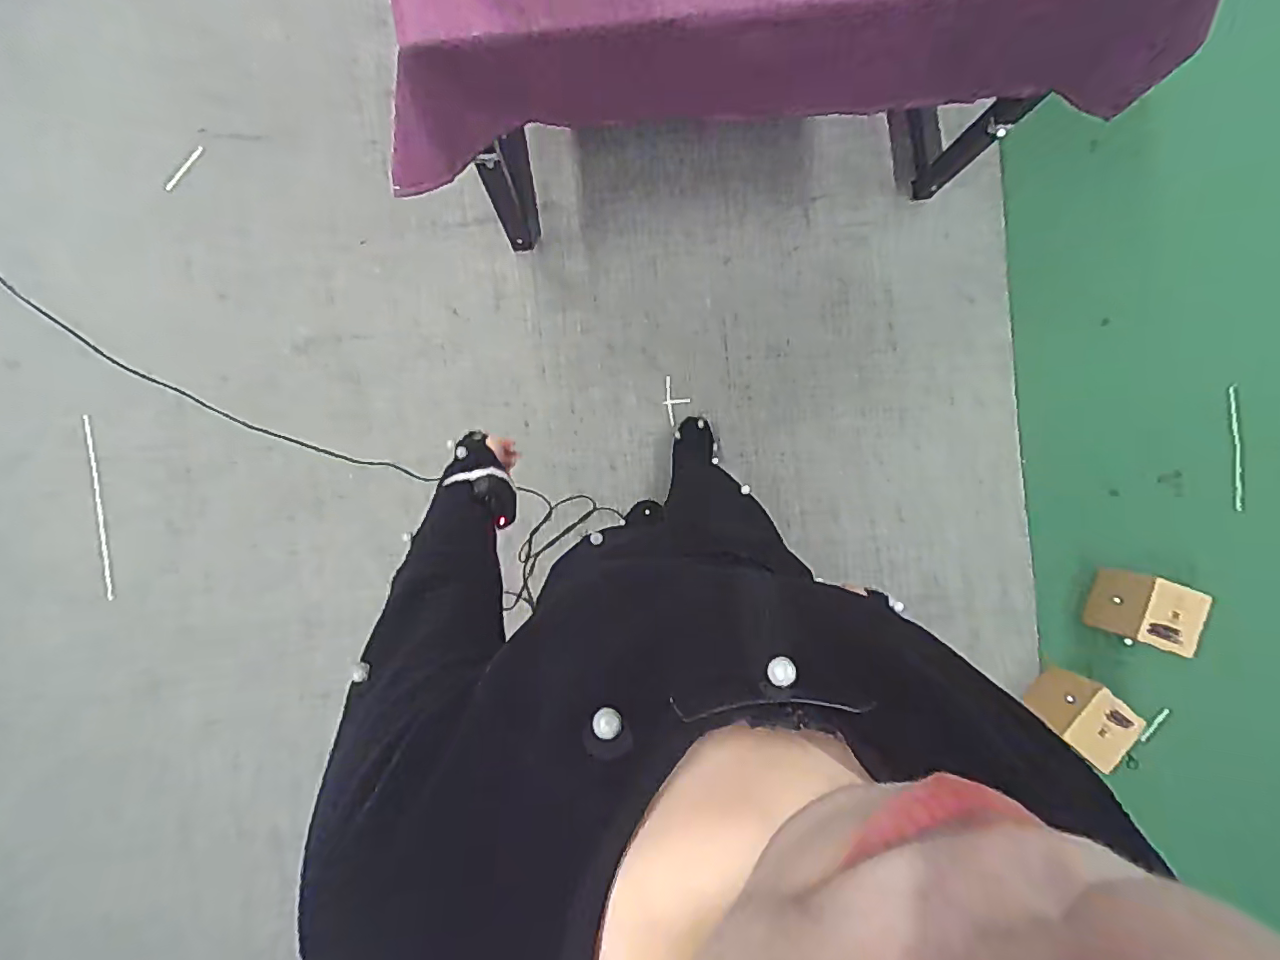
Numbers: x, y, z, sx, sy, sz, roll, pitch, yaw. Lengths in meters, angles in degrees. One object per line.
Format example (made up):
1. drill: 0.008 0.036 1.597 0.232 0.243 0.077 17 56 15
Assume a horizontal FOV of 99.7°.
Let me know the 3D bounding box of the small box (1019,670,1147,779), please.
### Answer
1. small box: 1.196 0.655 1.474 0.168 0.176 0.179 40 90 -3

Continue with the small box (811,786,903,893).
1. small box: 0.570 0.952 1.445 0.179 0.176 0.168 -7 92 -2
